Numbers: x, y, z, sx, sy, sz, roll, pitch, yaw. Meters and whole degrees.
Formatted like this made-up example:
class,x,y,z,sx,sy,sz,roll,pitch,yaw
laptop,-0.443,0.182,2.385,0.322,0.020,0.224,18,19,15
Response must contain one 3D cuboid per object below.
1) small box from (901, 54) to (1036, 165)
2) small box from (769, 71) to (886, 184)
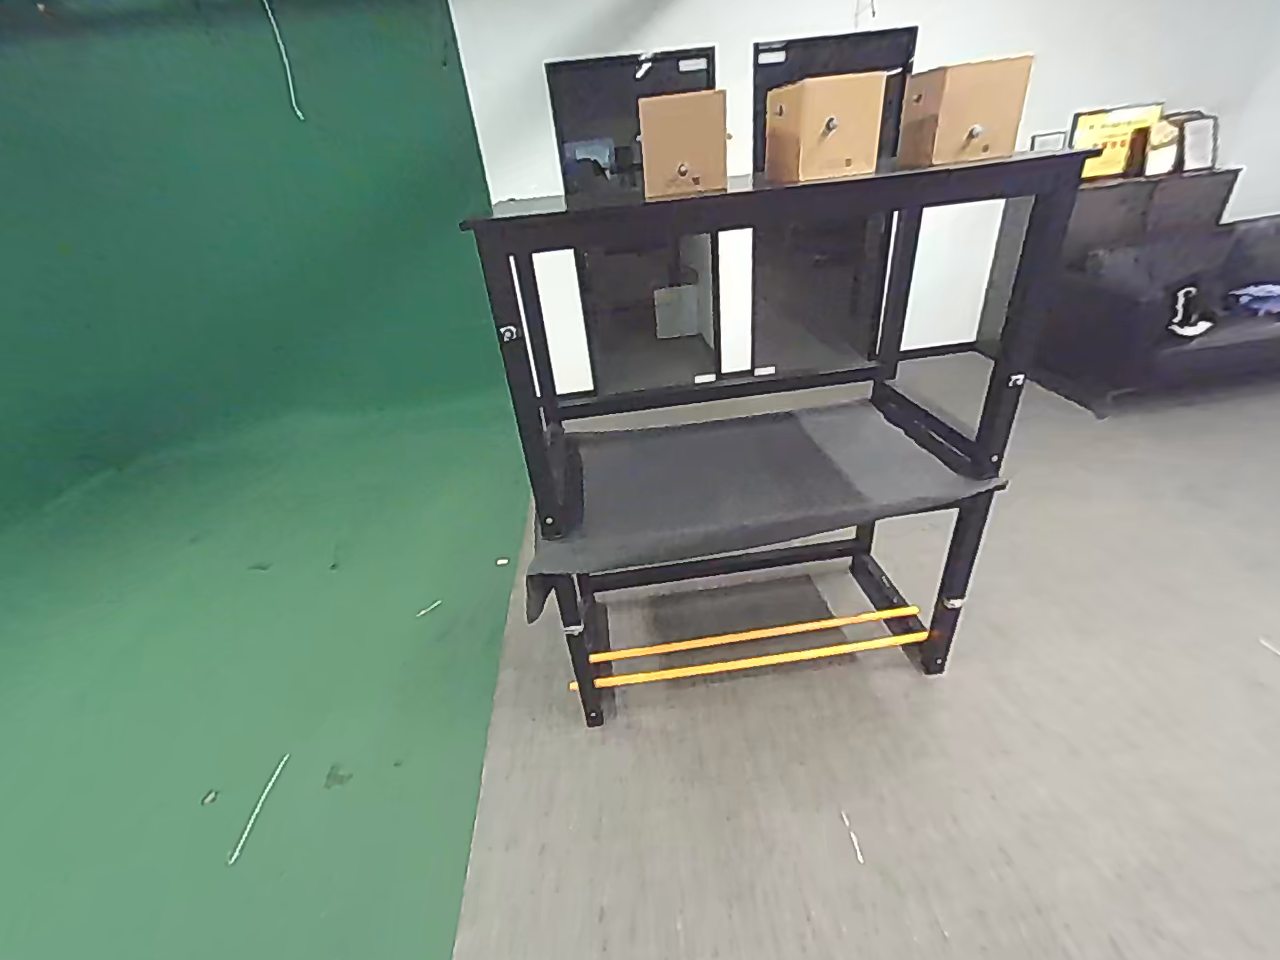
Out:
class,x,y,z,sx,sy,sz,roll,pitch,yaw
small box,0.662,-0.754,1.117,0.168,0.176,0.179,-6,31,3
small box,0.373,-0.709,1.102,0.168,0.176,0.179,-10,30,-7
